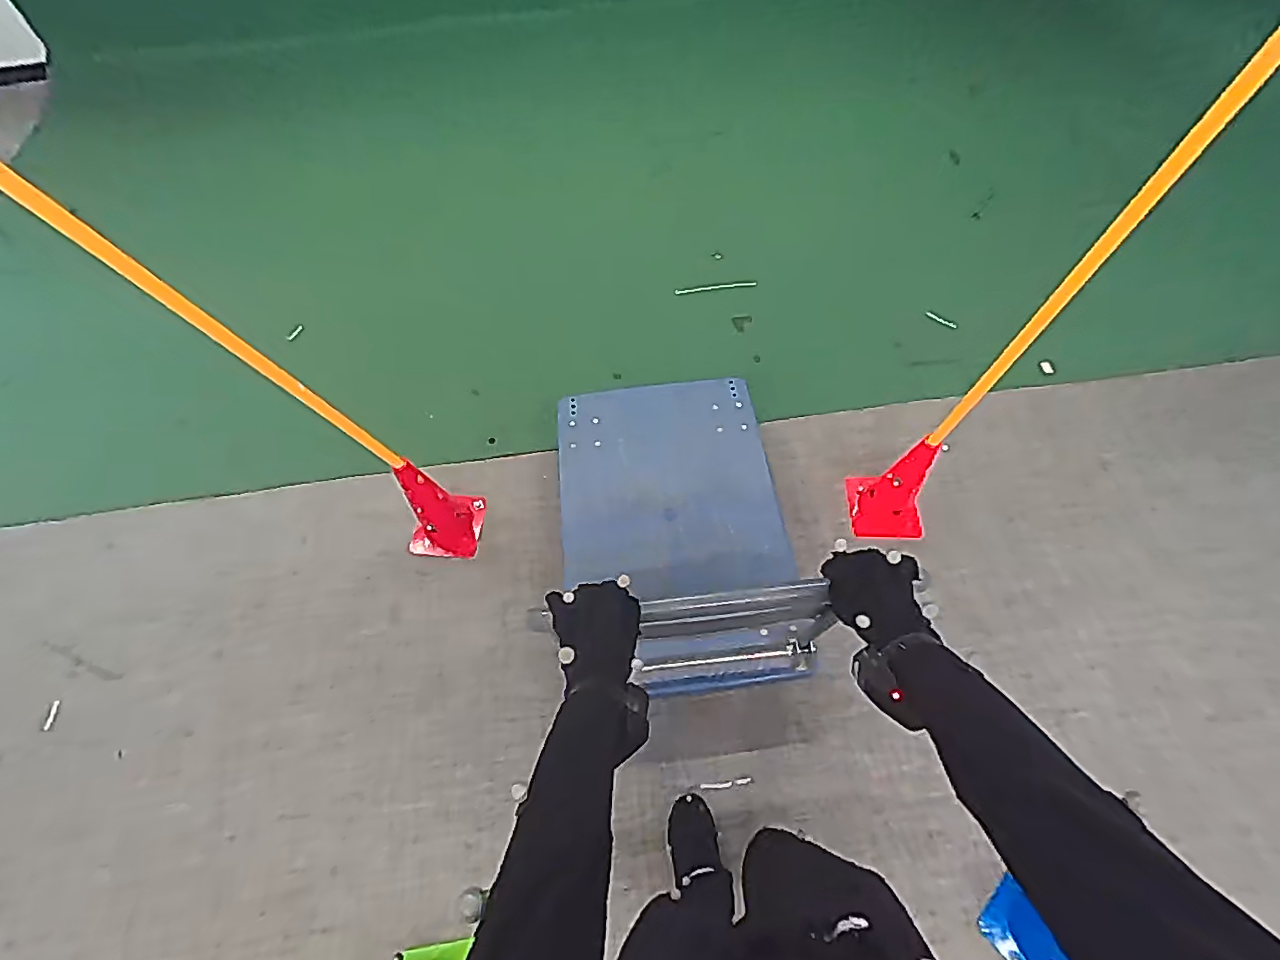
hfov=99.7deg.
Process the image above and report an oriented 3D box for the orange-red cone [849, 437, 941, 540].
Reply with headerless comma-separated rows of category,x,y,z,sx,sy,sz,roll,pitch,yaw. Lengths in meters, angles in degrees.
orange-red cone,0.711,0.000,1.437,0.198,0.360,0.199,2,61,5
